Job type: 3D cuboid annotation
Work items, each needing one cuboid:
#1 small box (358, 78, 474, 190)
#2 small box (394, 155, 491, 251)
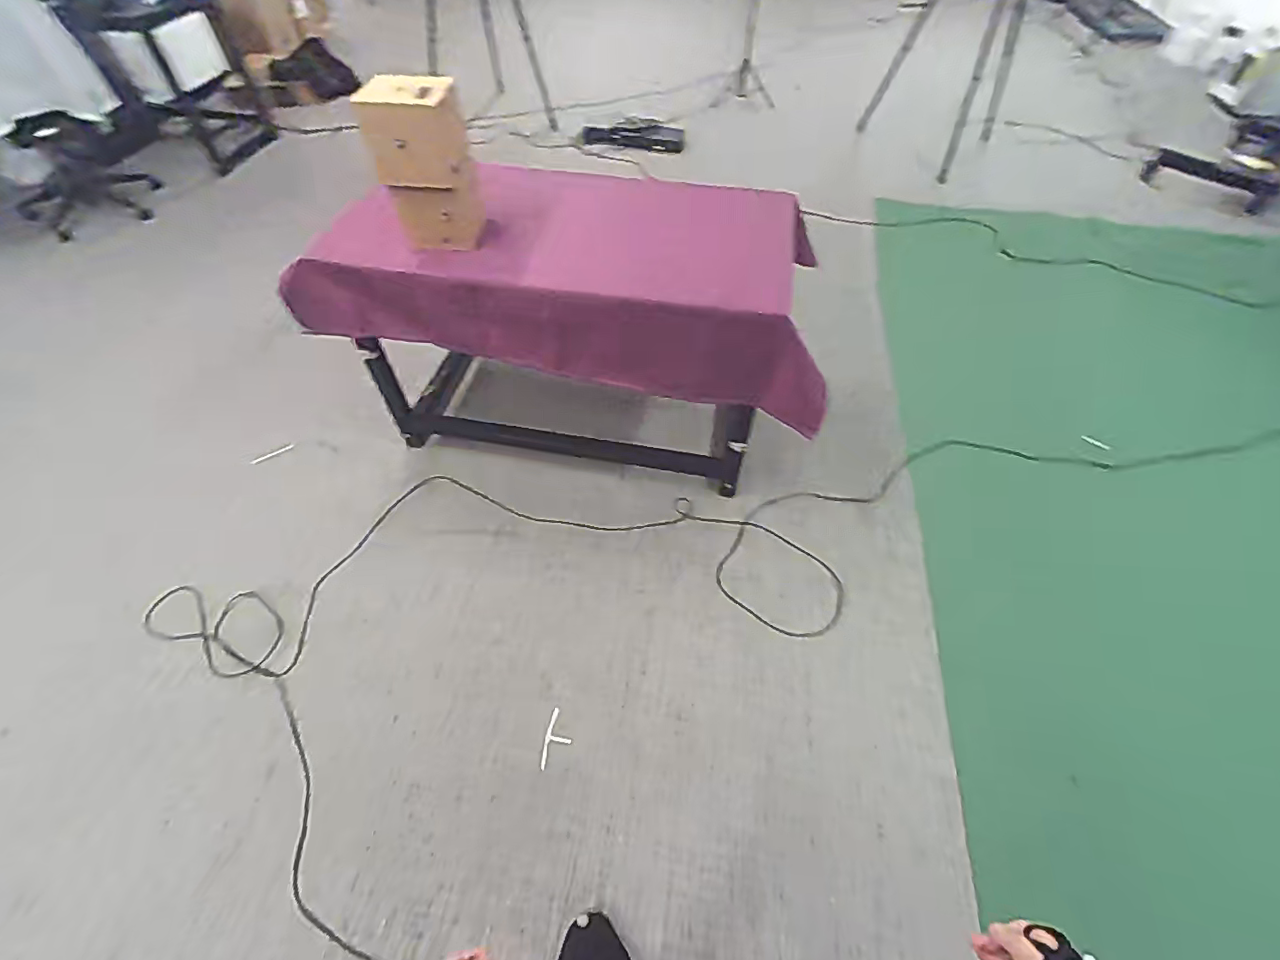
[{"bbox_3d":[-0.494,-0.780,1.224,0.179,0.176,0.168,3,53,2],"label":"small box"},{"bbox_3d":[-0.489,-0.700,1.369,0.168,0.176,0.179,4,52,2],"label":"small box"}]
